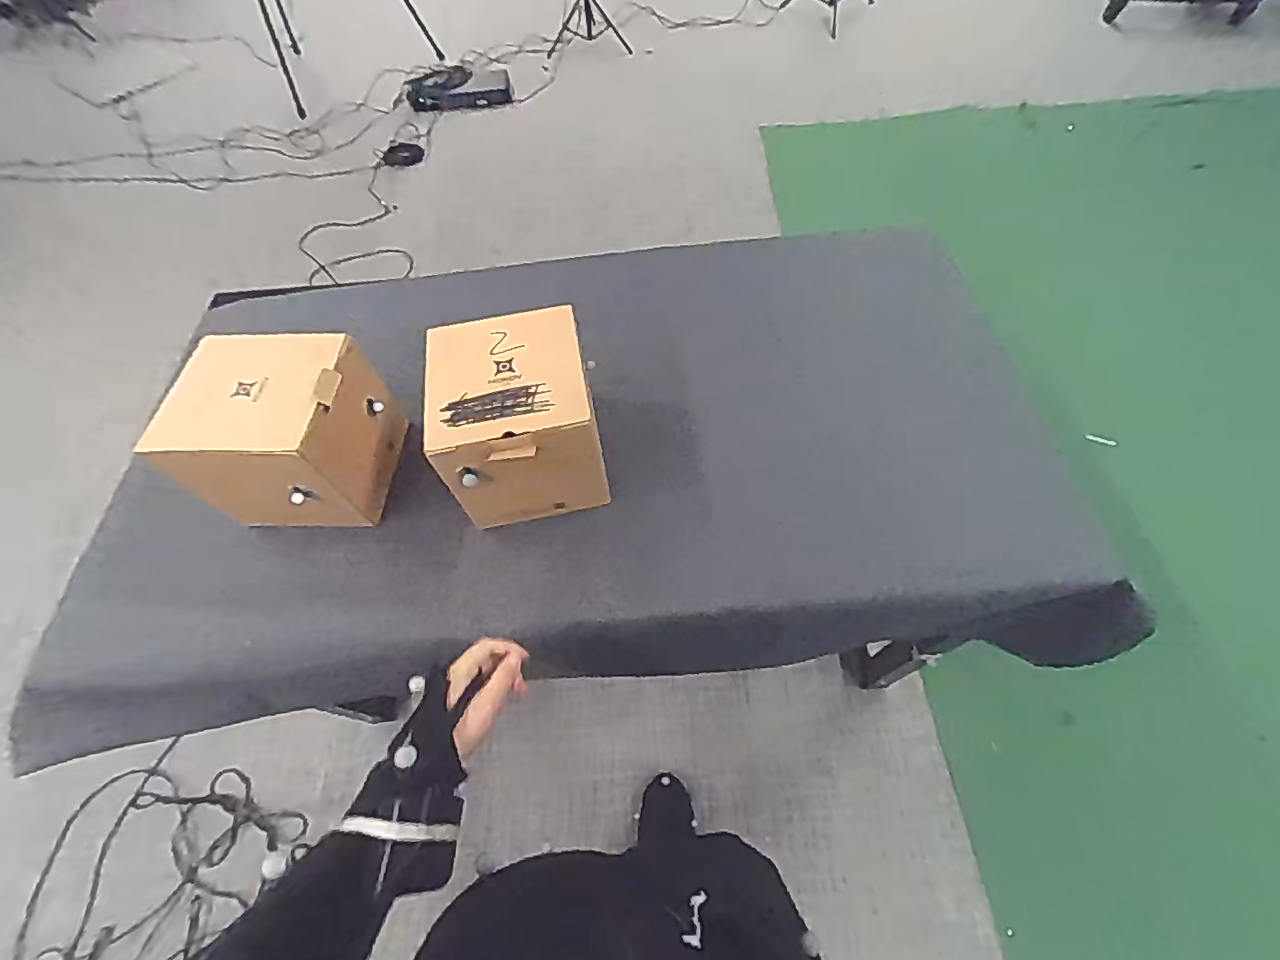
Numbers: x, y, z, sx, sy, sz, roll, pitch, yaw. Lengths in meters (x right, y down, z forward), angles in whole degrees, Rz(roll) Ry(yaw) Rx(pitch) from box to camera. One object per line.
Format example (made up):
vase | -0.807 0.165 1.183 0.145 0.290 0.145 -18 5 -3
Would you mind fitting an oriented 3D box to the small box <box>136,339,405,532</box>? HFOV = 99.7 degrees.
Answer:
small box | -0.410 -0.047 0.642 0.179 0.176 0.168 -1 57 4
